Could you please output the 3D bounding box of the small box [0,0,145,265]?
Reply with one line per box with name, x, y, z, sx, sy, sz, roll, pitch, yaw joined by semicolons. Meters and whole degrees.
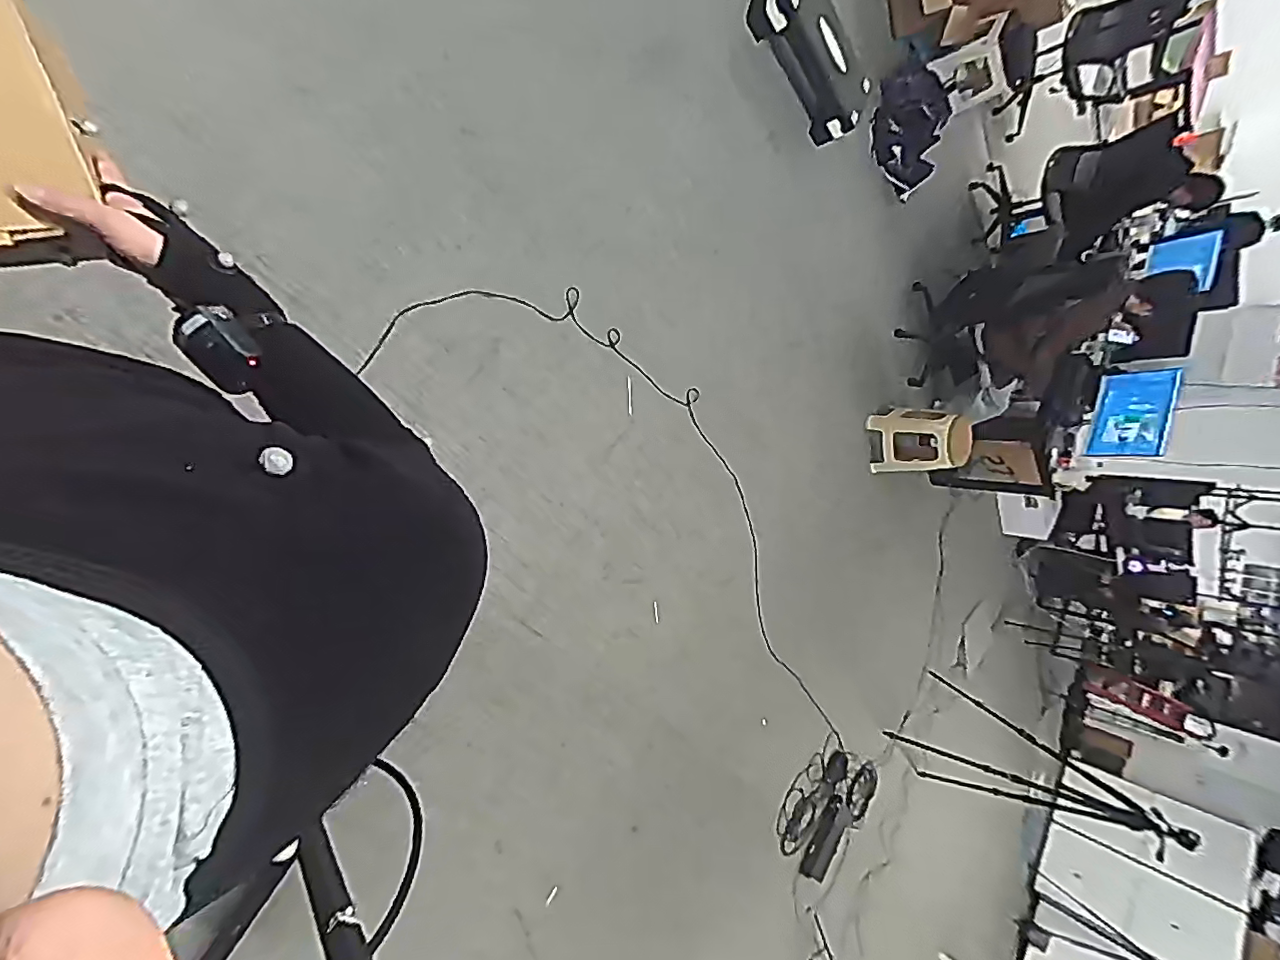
small box;-0.551;-0.277;0.440;0.168;0.176;0.179;-22;113;-29
